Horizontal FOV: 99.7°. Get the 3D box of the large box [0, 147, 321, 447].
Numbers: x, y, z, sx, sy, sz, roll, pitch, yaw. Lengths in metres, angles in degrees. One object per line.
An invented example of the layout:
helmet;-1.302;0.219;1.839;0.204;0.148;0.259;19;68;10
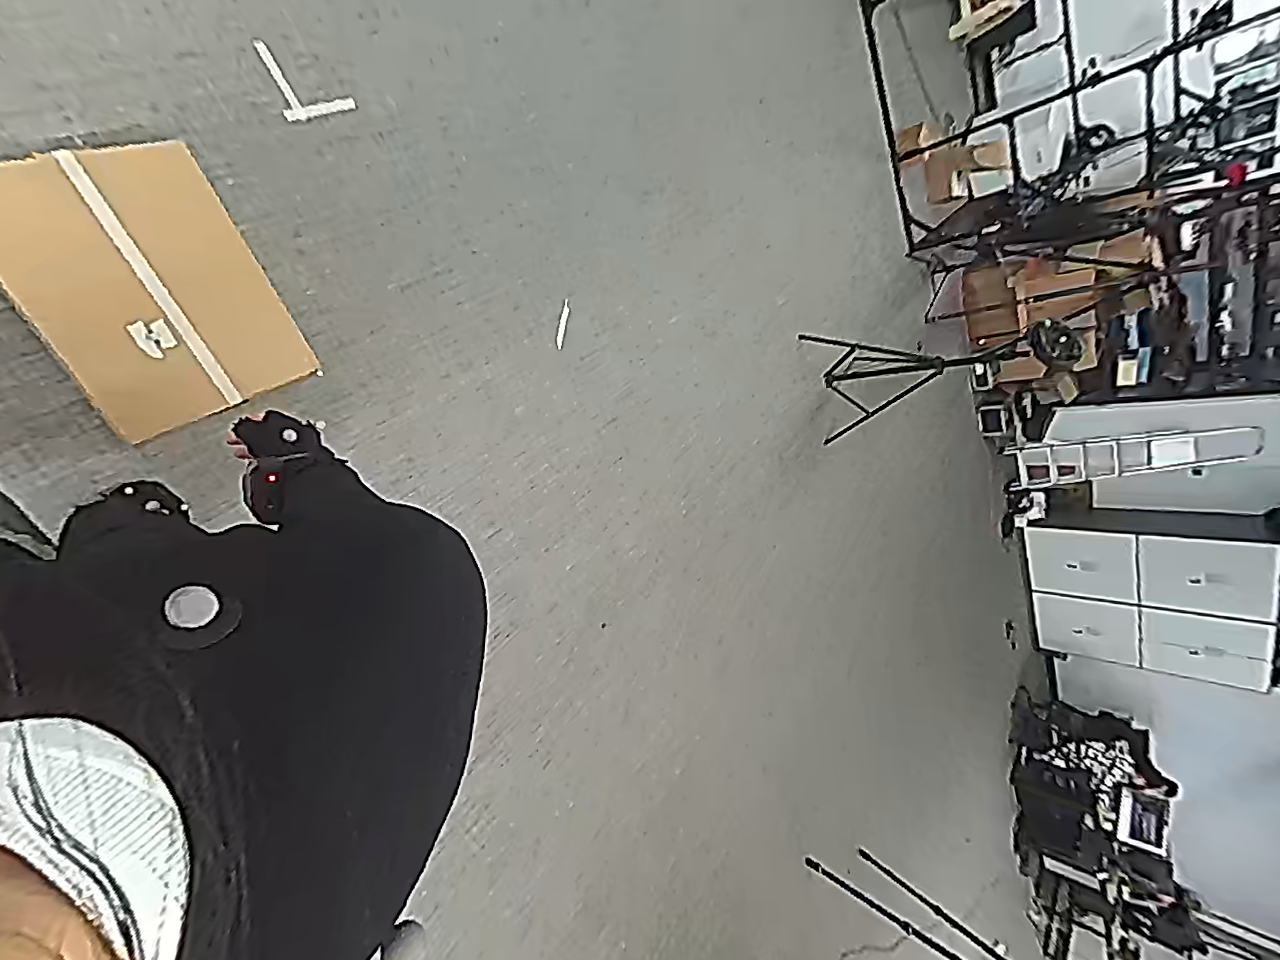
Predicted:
large box;-0.881;-0.306;0.979;0.320;0.320;0.408;-39;117;-35
